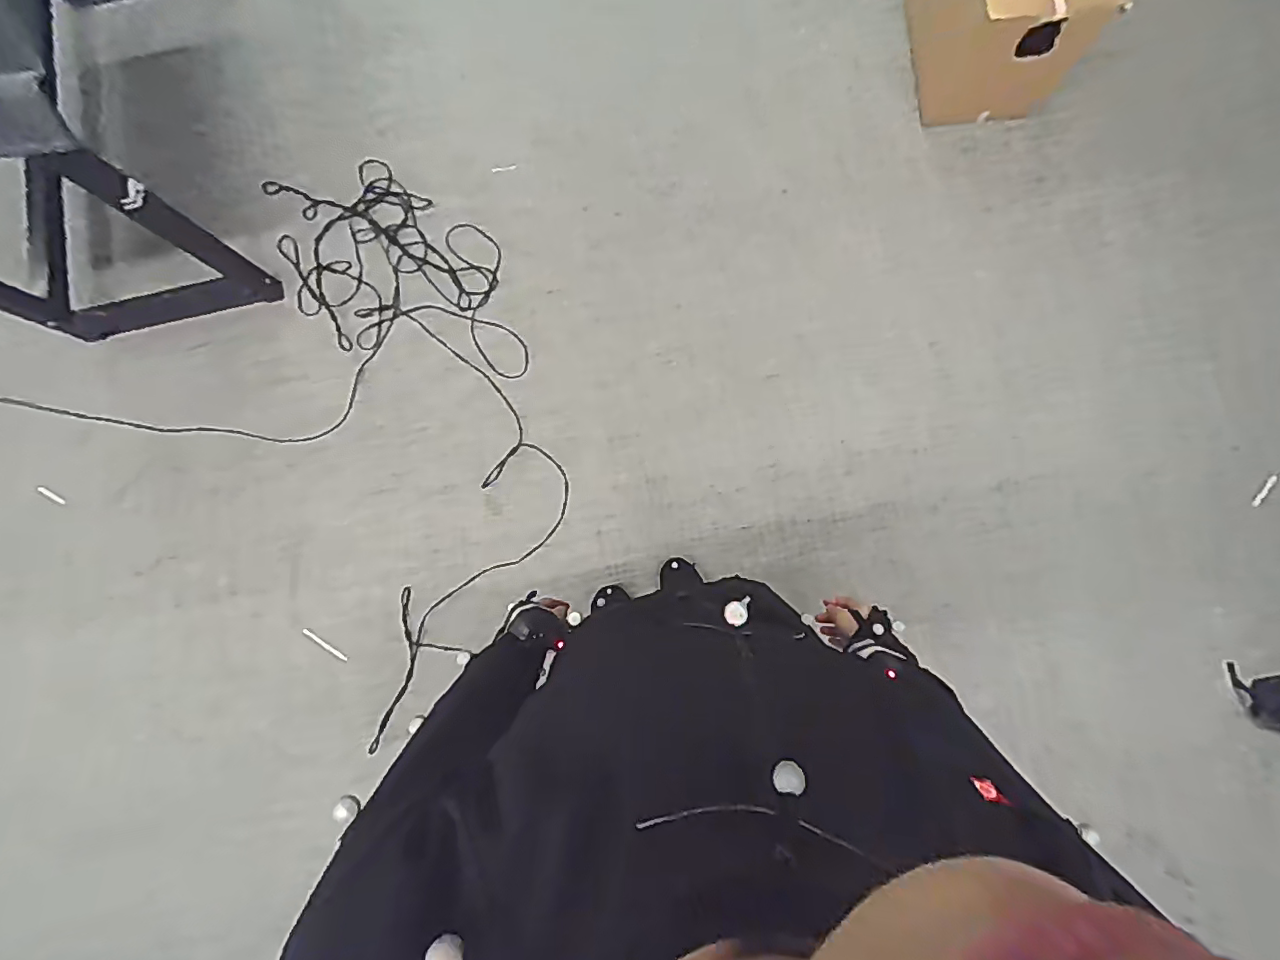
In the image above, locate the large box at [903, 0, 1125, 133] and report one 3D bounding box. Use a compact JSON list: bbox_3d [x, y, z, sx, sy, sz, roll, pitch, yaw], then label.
[{"bbox_3d":[0.919,-1.197,1.383,0.320,0.320,0.408,-6,83,3],"label":"large box"}]
